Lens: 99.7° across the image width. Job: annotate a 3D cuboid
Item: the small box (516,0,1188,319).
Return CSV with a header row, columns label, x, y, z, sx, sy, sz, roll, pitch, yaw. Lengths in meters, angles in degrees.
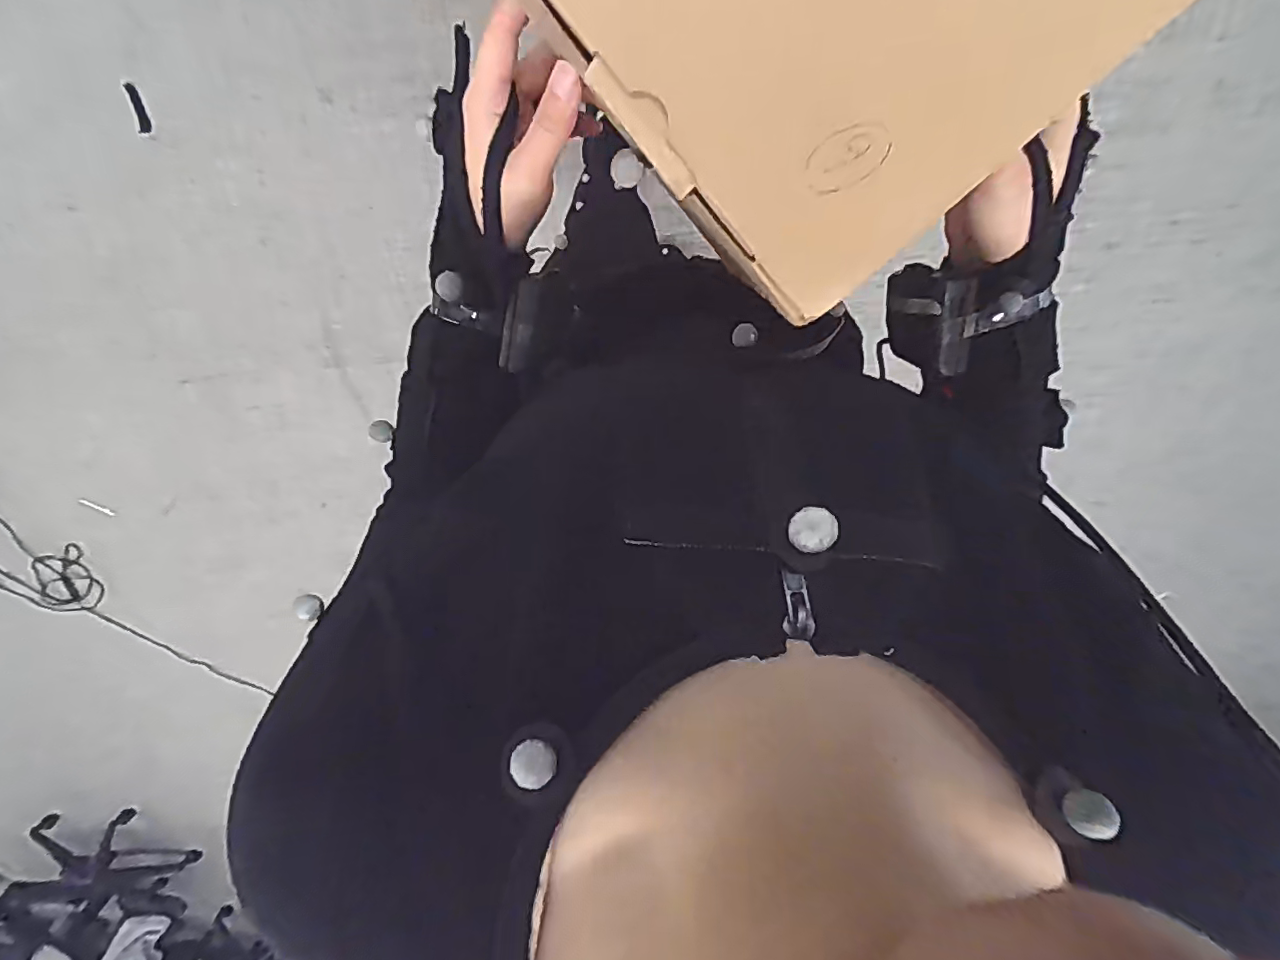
label,x,y,z,sx,sy,sz,roll,pitch,yaw
small box,0.065,-0.194,0.208,0.179,0.176,0.168,-40,109,20
